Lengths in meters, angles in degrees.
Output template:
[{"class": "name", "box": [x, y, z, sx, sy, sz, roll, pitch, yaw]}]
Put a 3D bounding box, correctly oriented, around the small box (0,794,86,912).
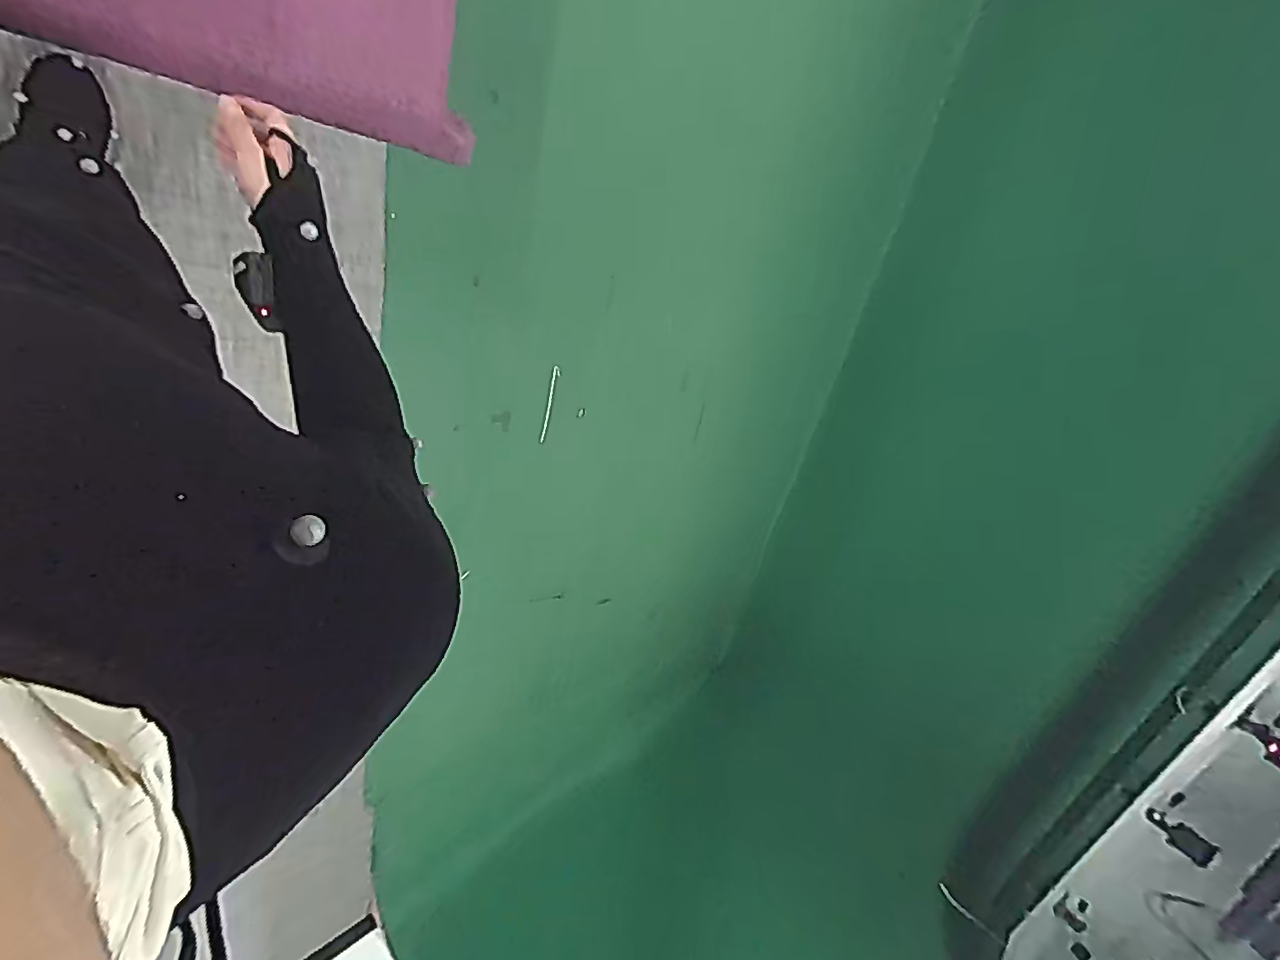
[{"class": "small box", "box": [-1.670, 1.024, 1.500, 0.168, 0.176, 0.179, -13, 125, -43]}]
